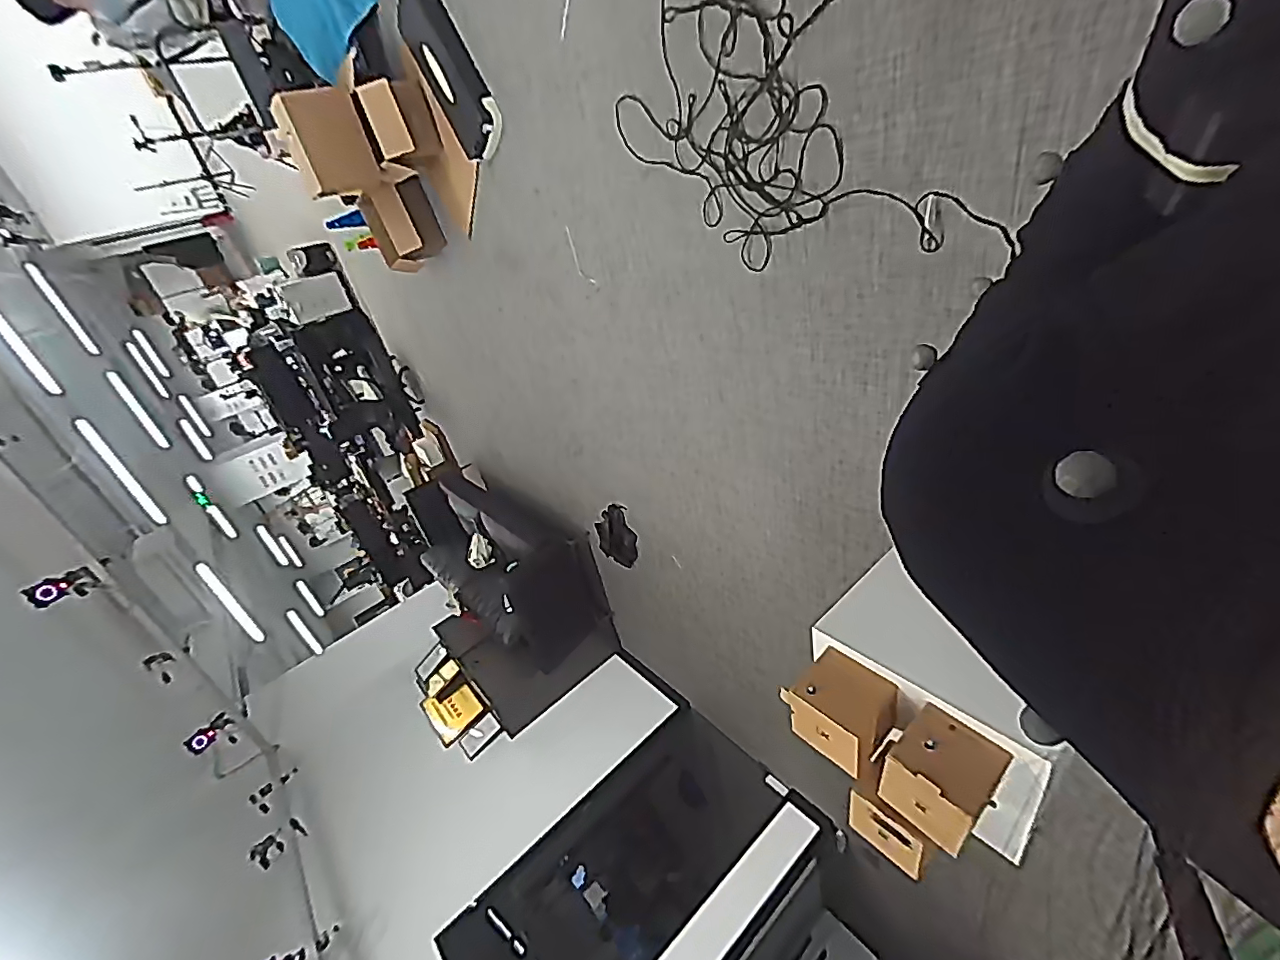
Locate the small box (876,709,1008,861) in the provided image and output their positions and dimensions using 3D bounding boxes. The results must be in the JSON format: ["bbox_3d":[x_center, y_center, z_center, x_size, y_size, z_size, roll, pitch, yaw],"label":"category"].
[{"bbox_3d":[0.606,0.605,1.090,0.168,0.176,0.179,30,143,44],"label":"small box"}]
